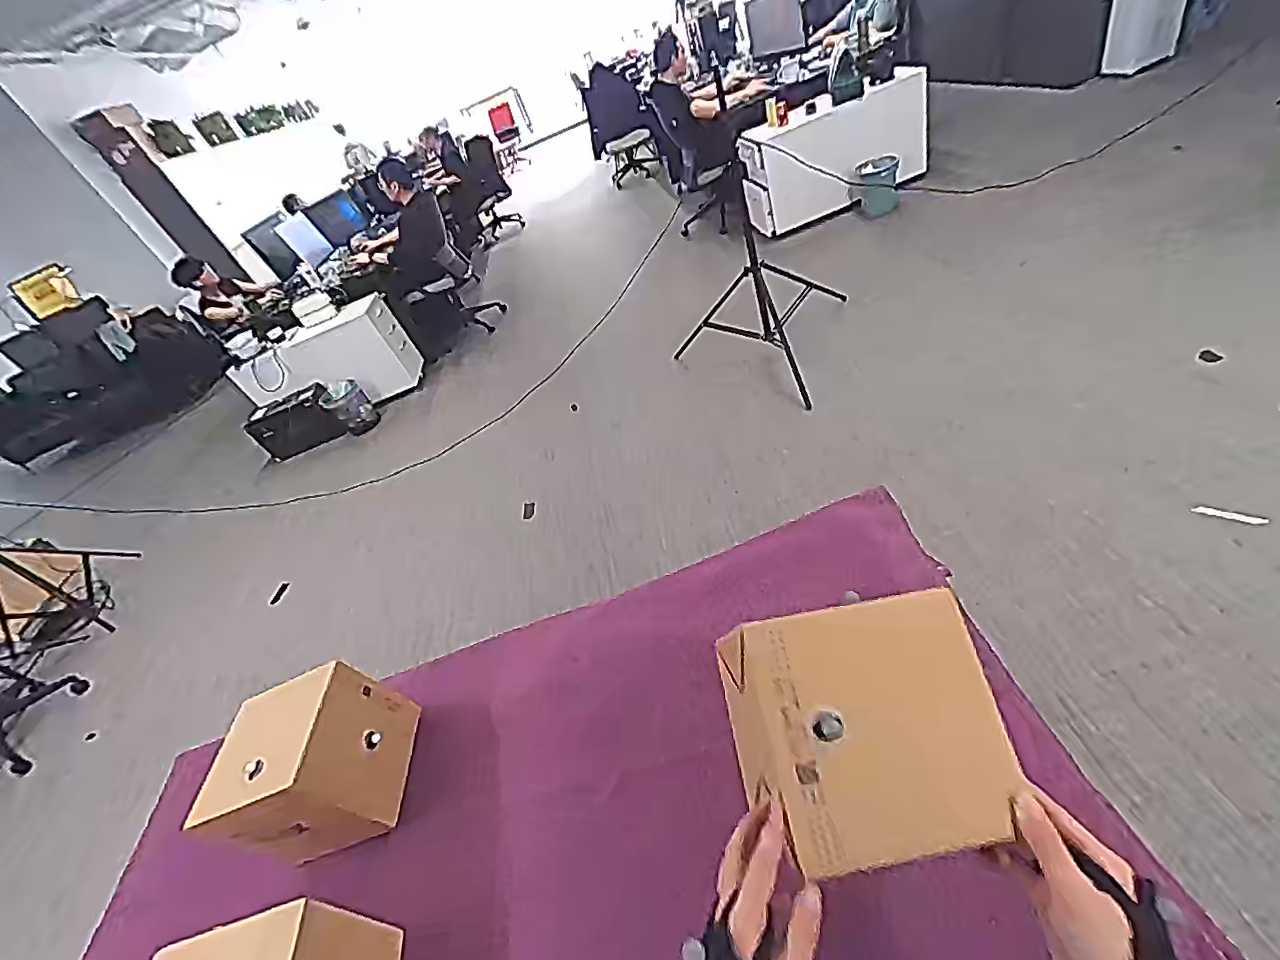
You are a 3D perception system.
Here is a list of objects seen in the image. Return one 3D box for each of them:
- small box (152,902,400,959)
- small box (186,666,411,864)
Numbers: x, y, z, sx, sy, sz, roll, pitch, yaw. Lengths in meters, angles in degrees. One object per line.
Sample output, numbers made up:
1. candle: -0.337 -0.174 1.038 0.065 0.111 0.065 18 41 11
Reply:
1. small box: -0.363 0.546 0.521 0.179 0.176 0.168 -22 38 4
2. small box: -0.435 0.379 0.729 0.179 0.168 0.176 -25 37 12
